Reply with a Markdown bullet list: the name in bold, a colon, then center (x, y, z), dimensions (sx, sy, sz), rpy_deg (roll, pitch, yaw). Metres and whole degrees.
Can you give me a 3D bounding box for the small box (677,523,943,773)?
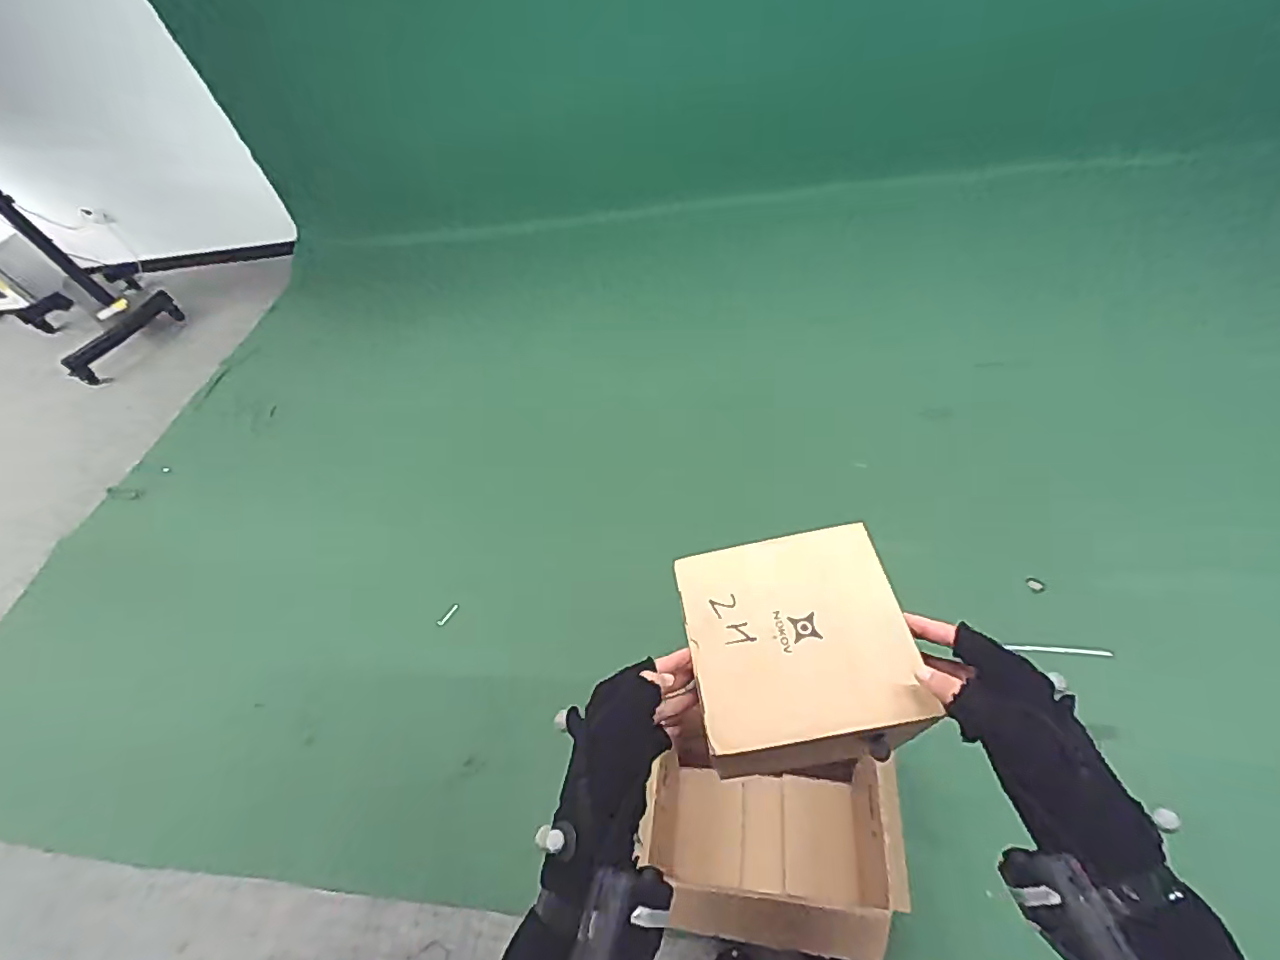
- **small box**: center (0.139, 0.164, 0.506), dimensions (0.179, 0.176, 0.168), rpy_deg (-12, 55, 3)
